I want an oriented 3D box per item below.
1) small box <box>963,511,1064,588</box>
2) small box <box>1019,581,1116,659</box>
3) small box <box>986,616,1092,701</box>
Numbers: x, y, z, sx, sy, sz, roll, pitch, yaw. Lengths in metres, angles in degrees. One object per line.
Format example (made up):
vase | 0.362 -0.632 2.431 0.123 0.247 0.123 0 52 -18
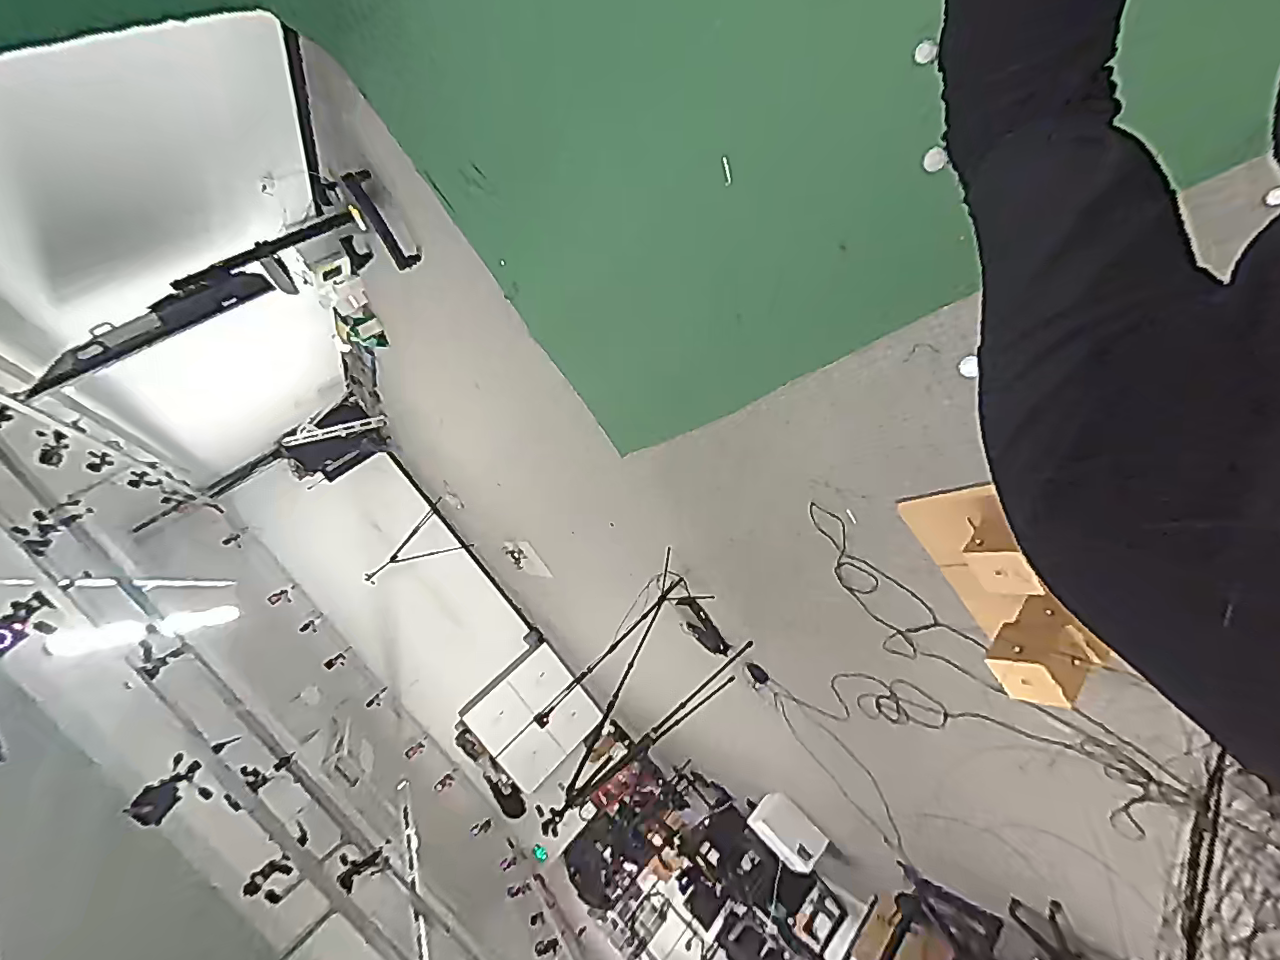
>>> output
small box | 1.145 0.212 1.656 0.168 0.176 0.179 53 153 -10
small box | 1.321 0.427 1.668 0.168 0.176 0.179 51 154 -3
small box | 1.197 0.526 1.621 0.168 0.176 0.179 52 154 -6
